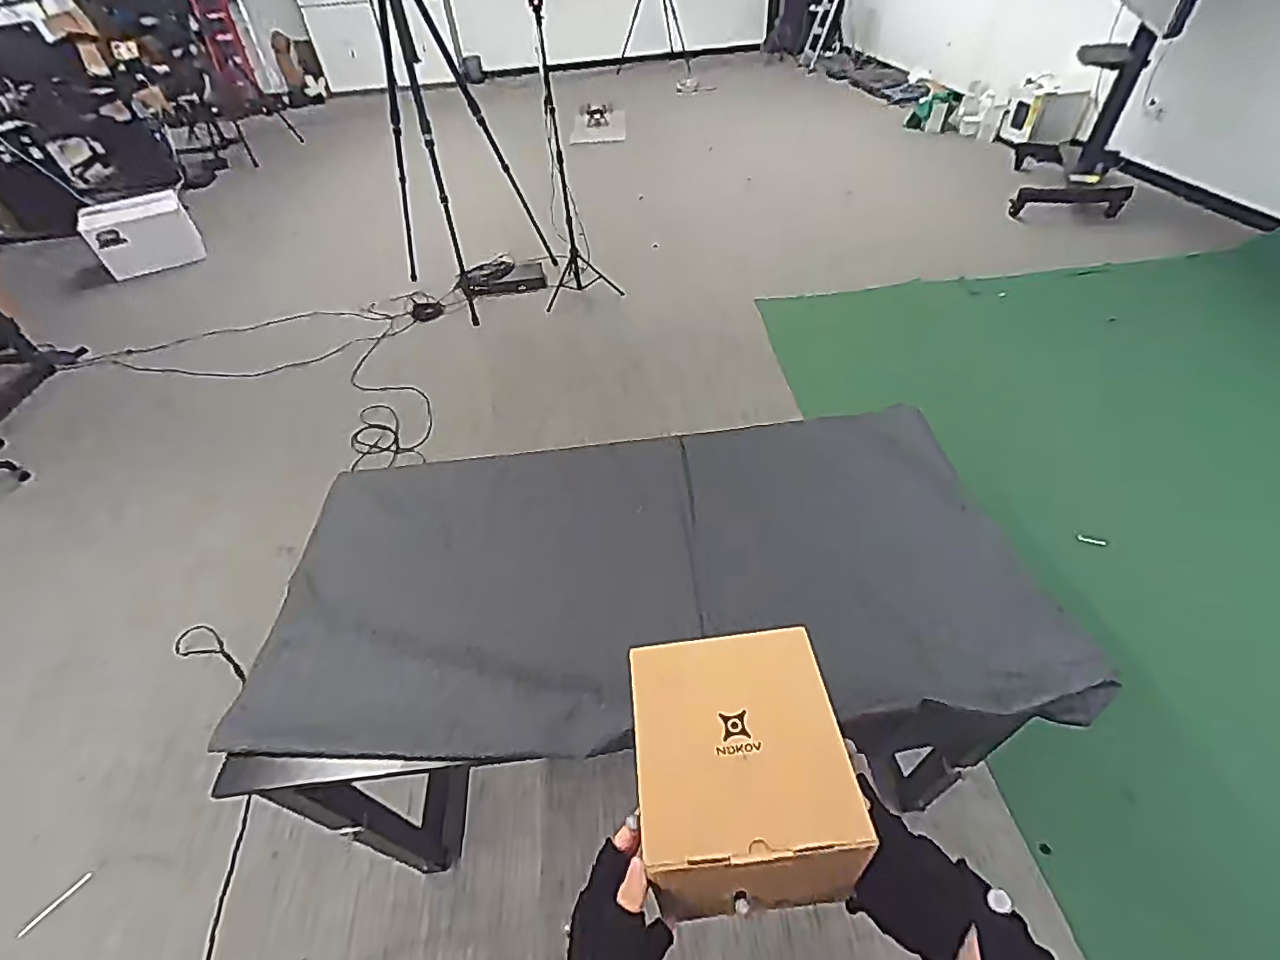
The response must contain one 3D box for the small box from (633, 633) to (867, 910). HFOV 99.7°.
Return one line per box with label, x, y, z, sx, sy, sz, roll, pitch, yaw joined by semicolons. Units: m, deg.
small box;0.086;0.270;0.505;0.168;0.176;0.179;-8;43;1
